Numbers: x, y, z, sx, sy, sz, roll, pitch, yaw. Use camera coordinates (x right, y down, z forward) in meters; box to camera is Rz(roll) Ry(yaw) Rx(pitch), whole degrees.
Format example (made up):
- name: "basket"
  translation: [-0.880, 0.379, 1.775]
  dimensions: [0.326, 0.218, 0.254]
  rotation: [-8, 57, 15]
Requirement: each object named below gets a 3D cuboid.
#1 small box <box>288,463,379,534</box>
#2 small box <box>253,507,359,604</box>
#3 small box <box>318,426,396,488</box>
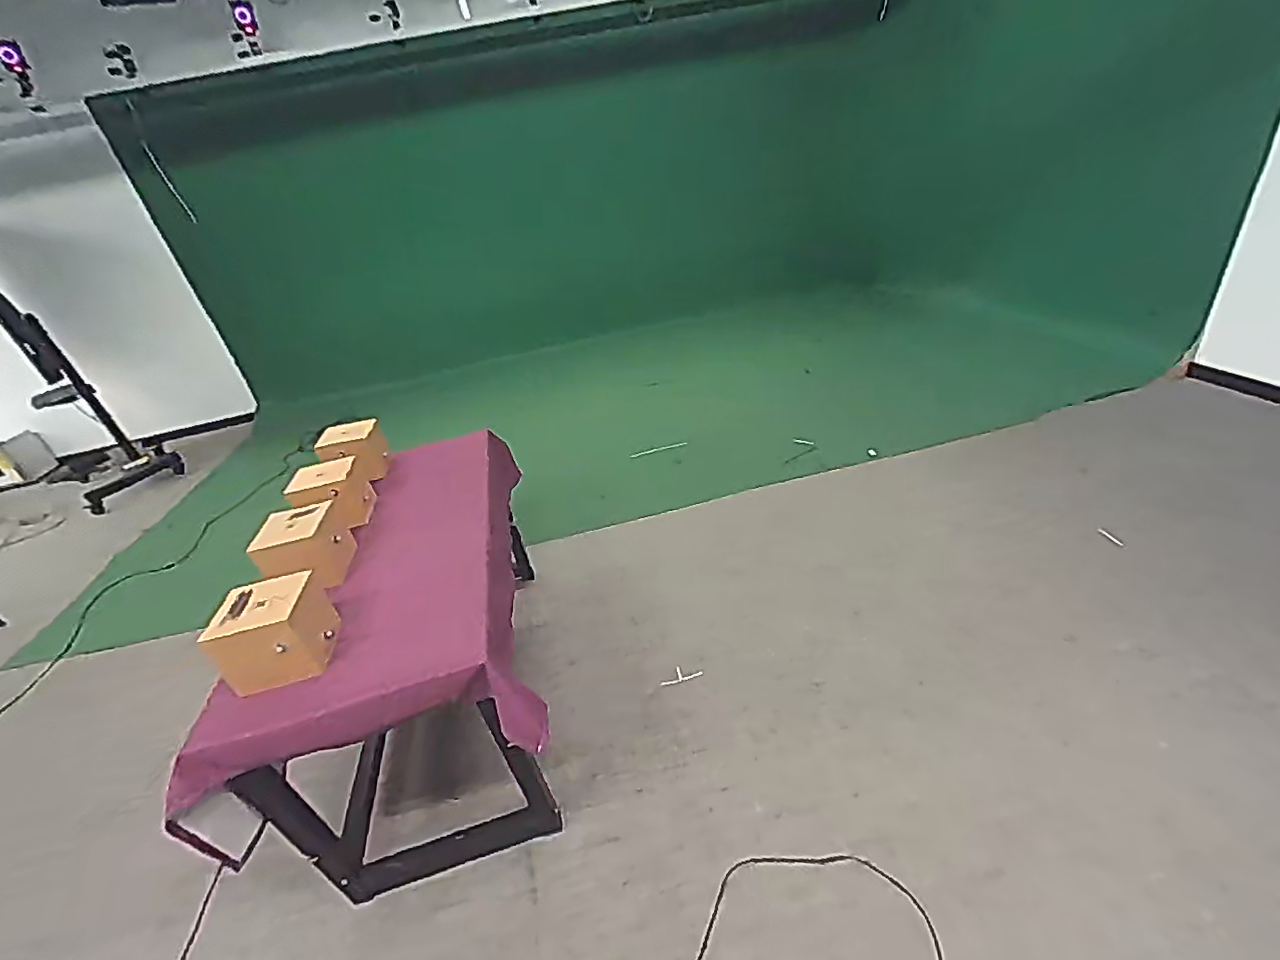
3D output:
- name: "small box"
  translation: [-0.954, 0.072, 1.701]
  dimensions: [0.179, 0.176, 0.168]
  rotation: [-14, 31, -7]
- name: "small box"
  translation: [-0.887, 0.202, 1.459]
  dimensions: [0.168, 0.176, 0.179]
  rotation: [-15, 32, -5]
- name: "small box"
  translation: [-1.011, -0.072, 1.945]
  dimensions: [0.179, 0.176, 0.168]
  rotation: [-12, 32, -6]
